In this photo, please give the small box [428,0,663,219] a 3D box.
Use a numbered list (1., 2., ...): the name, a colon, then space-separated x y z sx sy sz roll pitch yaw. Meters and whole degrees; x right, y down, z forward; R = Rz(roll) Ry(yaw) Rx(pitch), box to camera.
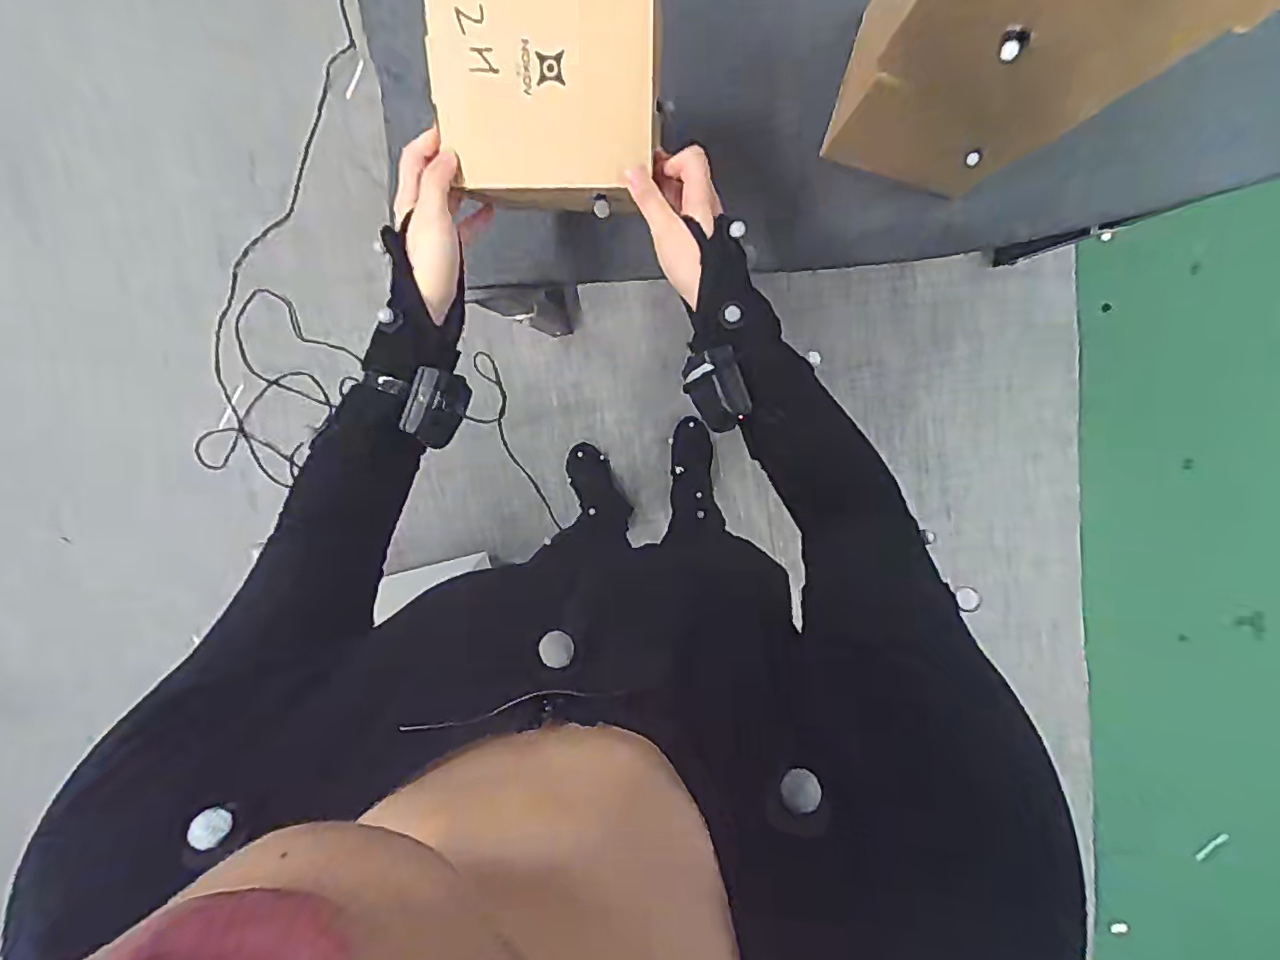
1. small box: -0.069 -0.339 0.495 0.179 0.176 0.168 2 111 4
